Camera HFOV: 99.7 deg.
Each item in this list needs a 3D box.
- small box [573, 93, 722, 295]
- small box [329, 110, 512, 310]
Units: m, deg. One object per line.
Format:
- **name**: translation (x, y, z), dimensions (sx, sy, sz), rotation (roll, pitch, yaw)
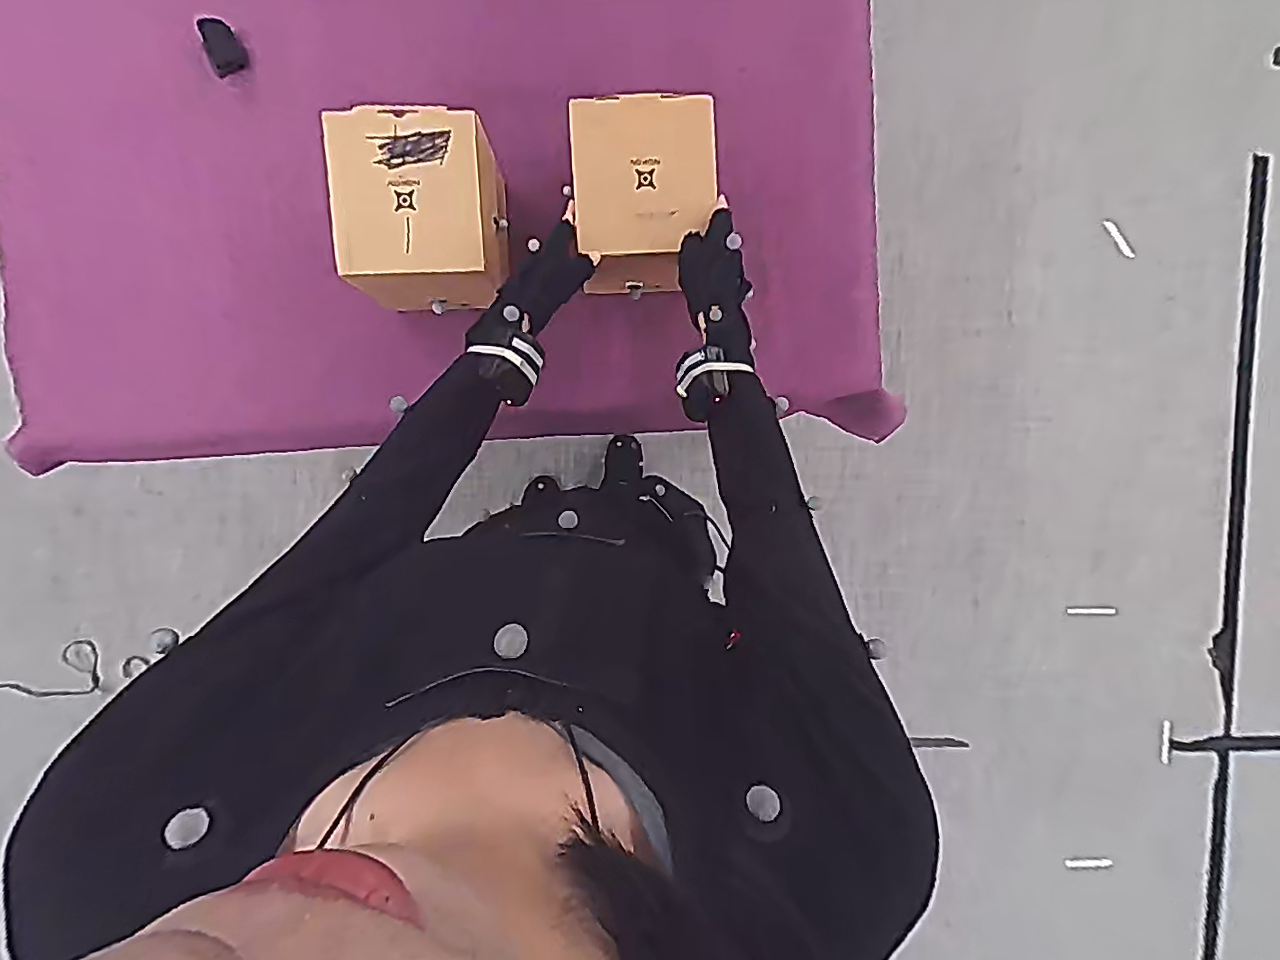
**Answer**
- **small box**: translation (0.005, -0.352, 0.692), dimensions (0.168, 0.176, 0.179), rotation (-4, 94, -2)
- **small box**: translation (-0.259, -0.323, 0.677), dimensions (0.168, 0.176, 0.179), rotation (-3, 94, -3)
